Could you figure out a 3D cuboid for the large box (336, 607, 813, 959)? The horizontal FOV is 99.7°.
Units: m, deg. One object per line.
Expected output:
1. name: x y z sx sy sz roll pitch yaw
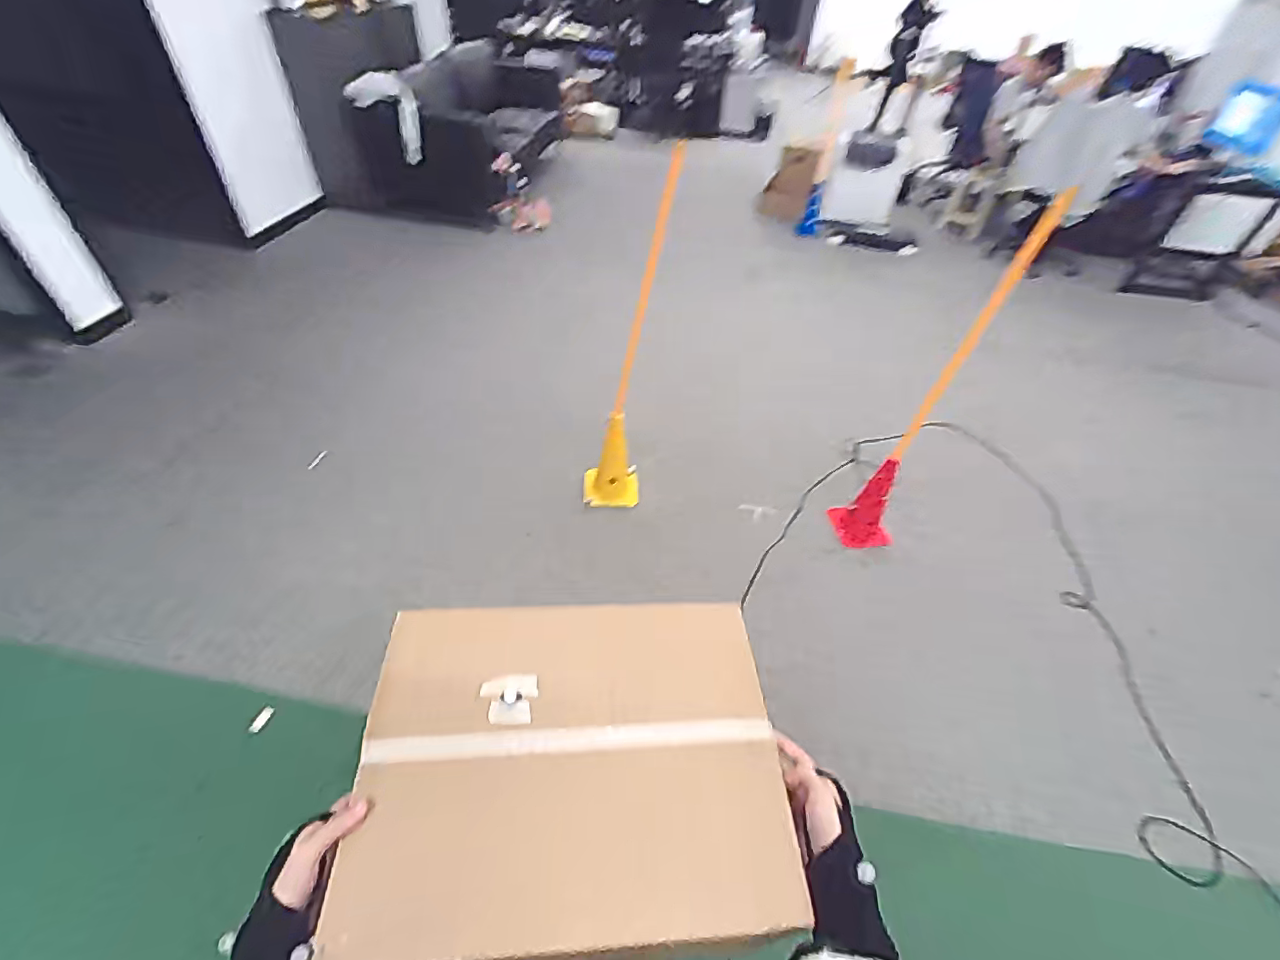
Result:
1. large box: -0.064 0.374 0.656 0.408 0.320 0.320 0 44 -5
